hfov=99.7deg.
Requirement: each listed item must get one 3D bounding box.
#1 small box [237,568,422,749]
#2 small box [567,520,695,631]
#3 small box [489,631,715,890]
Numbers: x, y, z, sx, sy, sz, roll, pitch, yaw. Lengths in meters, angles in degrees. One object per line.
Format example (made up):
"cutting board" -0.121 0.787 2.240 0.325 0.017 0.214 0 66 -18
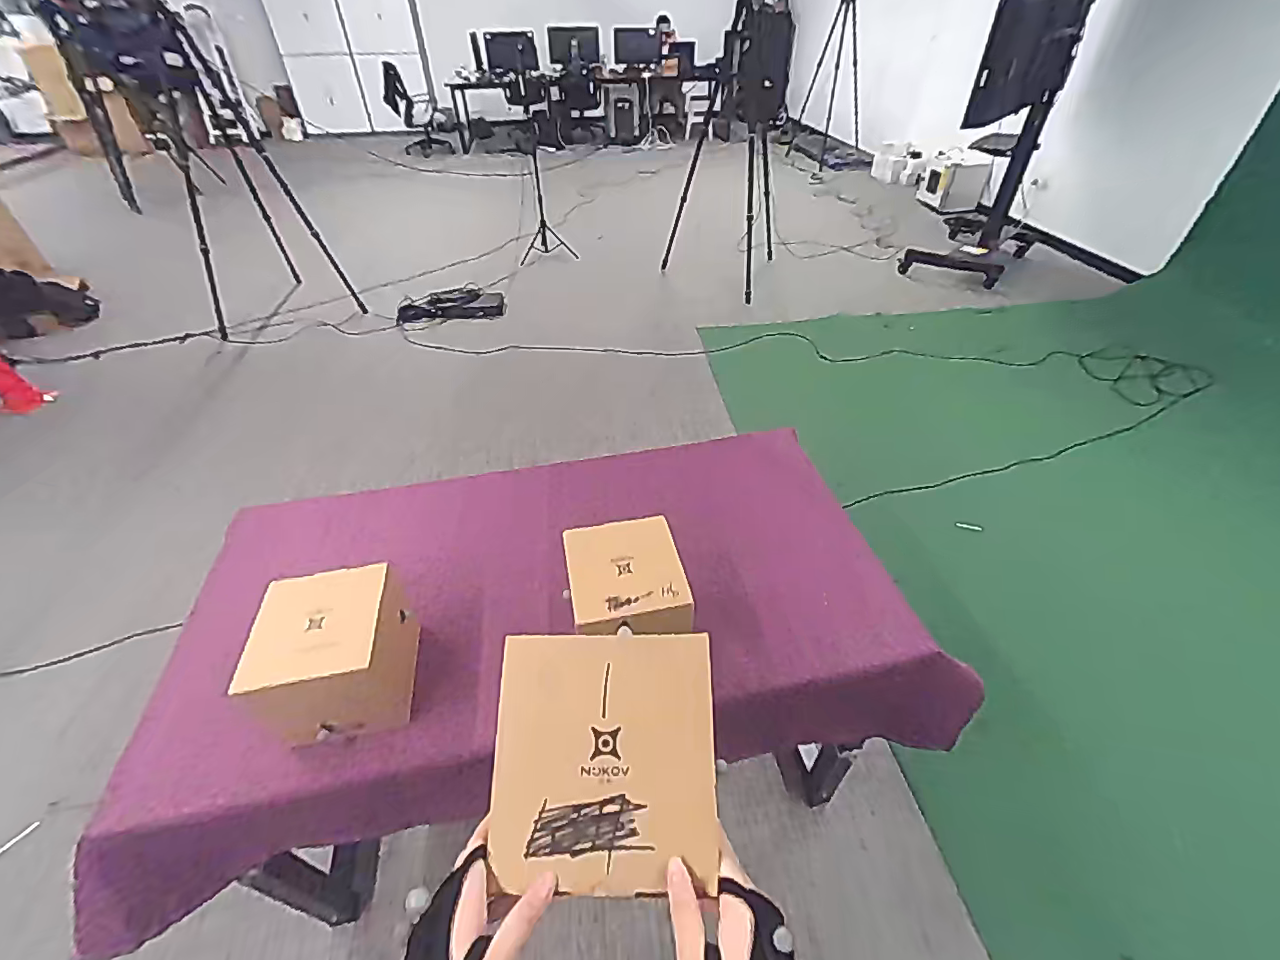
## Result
"small box" -0.428 0.257 0.784 0.168 0.176 0.179 -9 44 -7
"small box" -0.018 0.190 0.842 0.168 0.176 0.179 -10 42 -7
"small box" -0.022 0.232 0.483 0.168 0.176 0.179 -1 68 3
